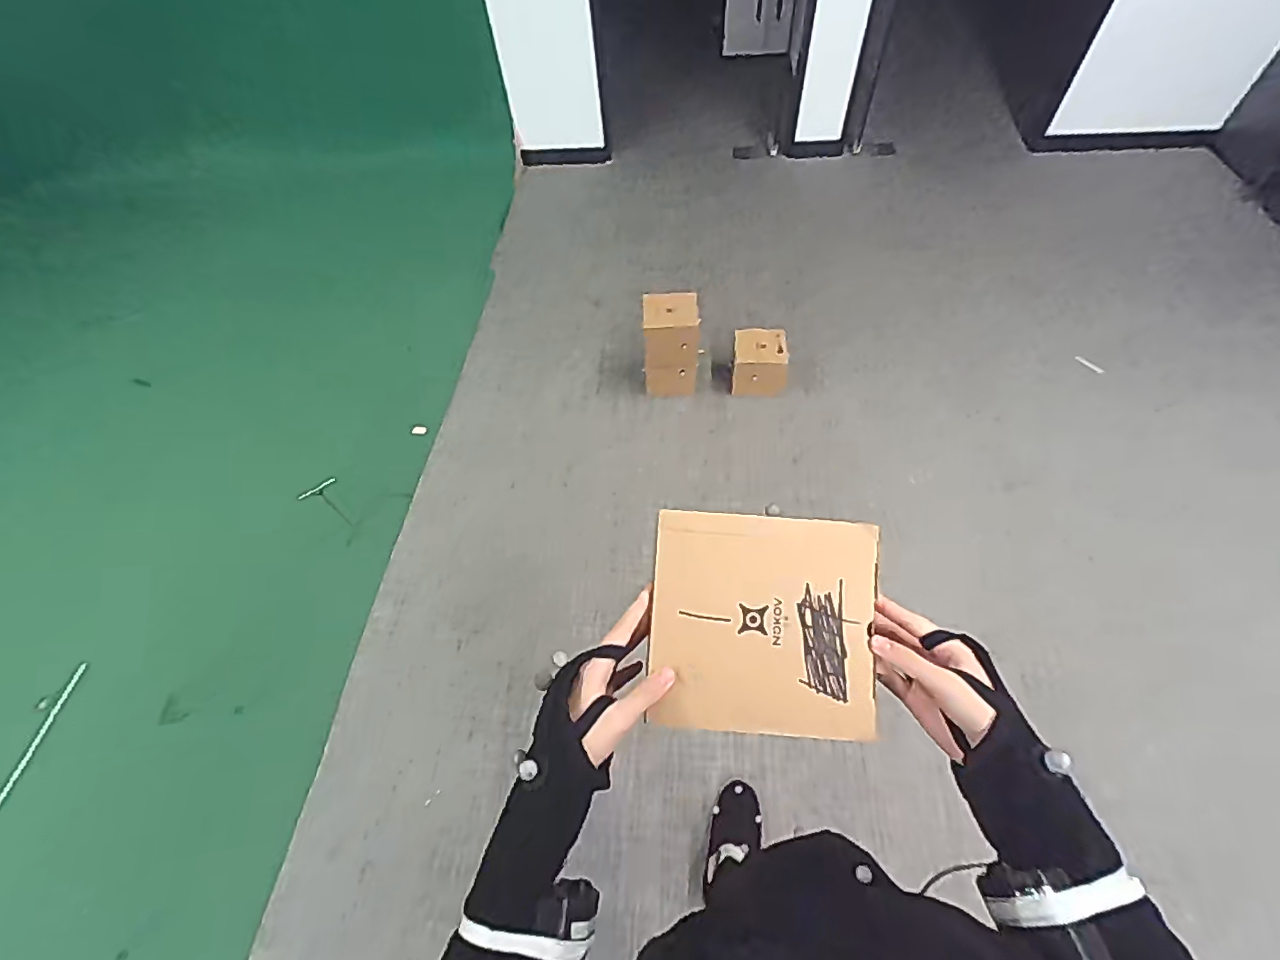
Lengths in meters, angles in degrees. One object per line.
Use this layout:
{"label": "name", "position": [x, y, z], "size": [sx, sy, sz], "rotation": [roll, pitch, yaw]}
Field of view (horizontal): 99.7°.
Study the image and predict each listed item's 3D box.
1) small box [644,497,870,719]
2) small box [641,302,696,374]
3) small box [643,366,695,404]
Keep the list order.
{"label": "small box", "position": [0.097, 0.110, 0.511], "size": [0.179, 0.176, 0.168], "rotation": [3, 82, 2]}
{"label": "small box", "position": [0.096, -0.471, 1.806], "size": [0.179, 0.176, 0.168], "rotation": [-2, 55, 4]}
{"label": "small box", "position": [0.104, -0.388, 1.947], "size": [0.179, 0.176, 0.168], "rotation": [-2, 56, 4]}
